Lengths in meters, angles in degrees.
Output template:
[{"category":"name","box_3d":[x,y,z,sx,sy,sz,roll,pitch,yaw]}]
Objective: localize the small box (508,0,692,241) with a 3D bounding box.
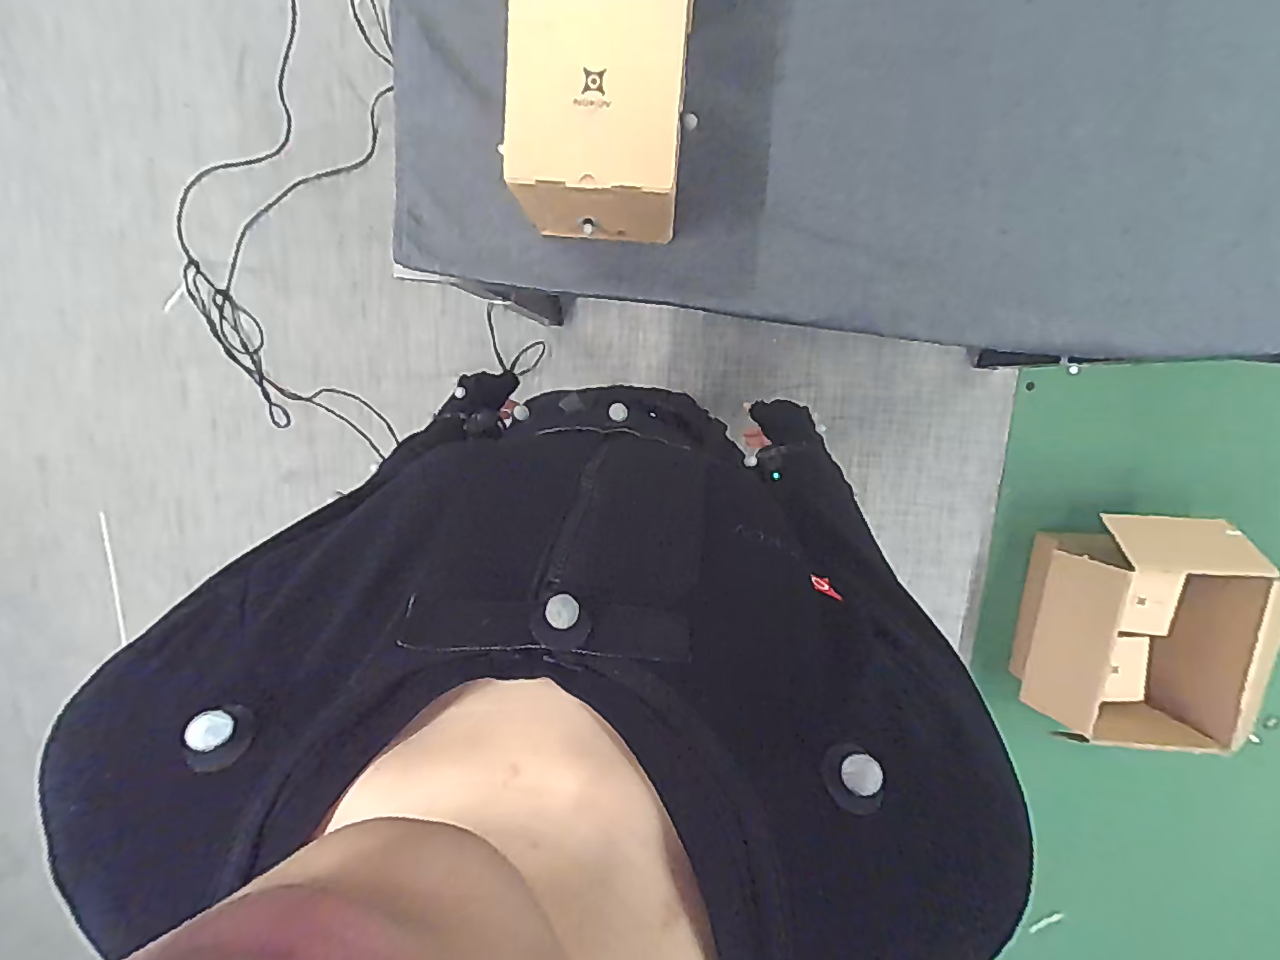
[{"category":"small box","box_3d":[-0.038,-0.381,0.589,0.168,0.176,0.179,4,99,1]}]
